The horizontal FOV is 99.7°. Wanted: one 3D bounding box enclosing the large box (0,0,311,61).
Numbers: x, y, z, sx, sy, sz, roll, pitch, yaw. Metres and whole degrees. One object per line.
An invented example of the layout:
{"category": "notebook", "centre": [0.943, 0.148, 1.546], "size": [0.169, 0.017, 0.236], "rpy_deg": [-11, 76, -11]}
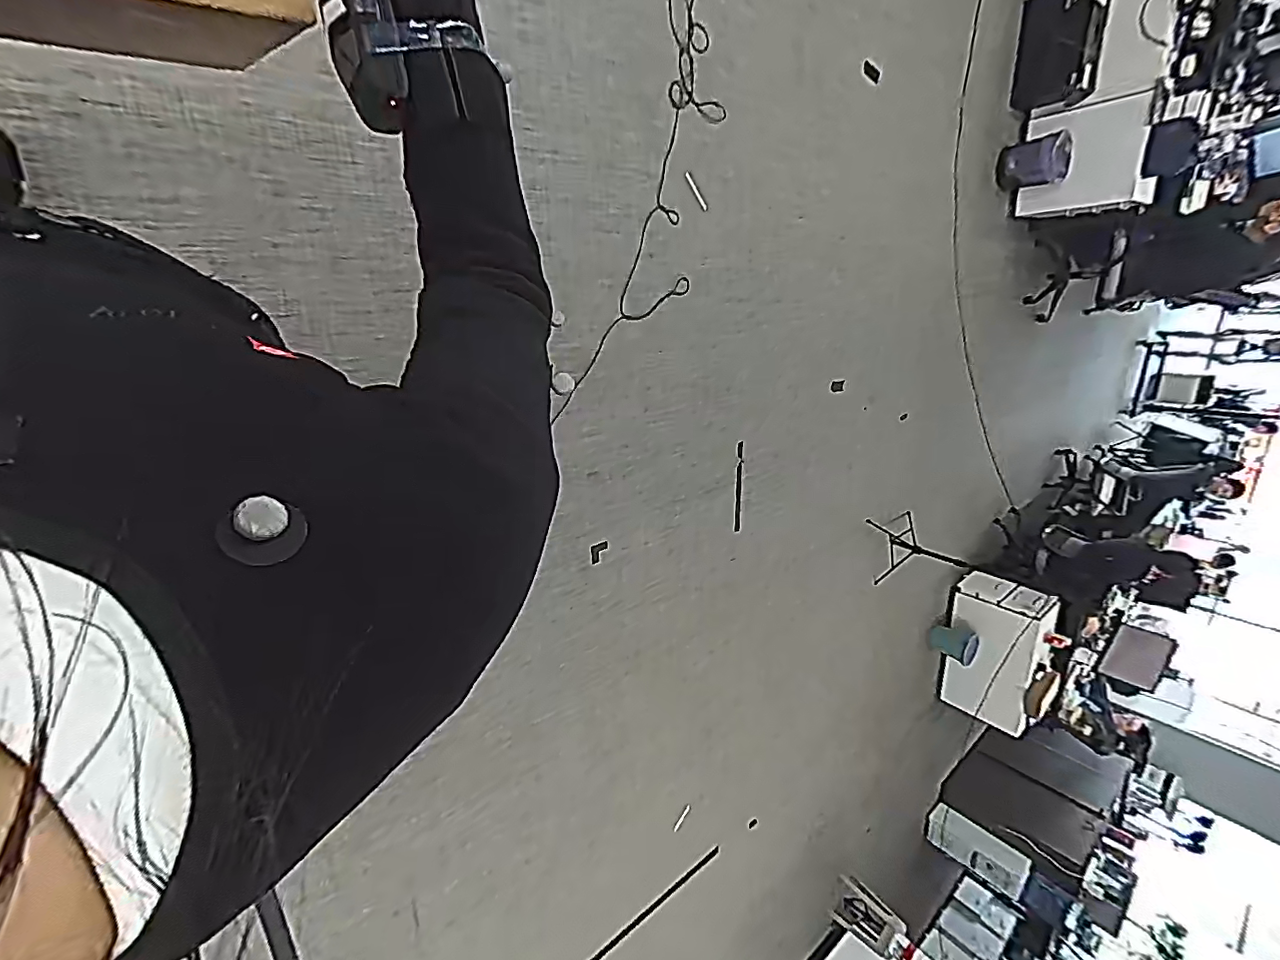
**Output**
{"category": "large box", "centre": [-0.437, -0.410, 0.232], "size": [0.408, 0.320, 0.320], "rpy_deg": [-20, 129, -35]}
